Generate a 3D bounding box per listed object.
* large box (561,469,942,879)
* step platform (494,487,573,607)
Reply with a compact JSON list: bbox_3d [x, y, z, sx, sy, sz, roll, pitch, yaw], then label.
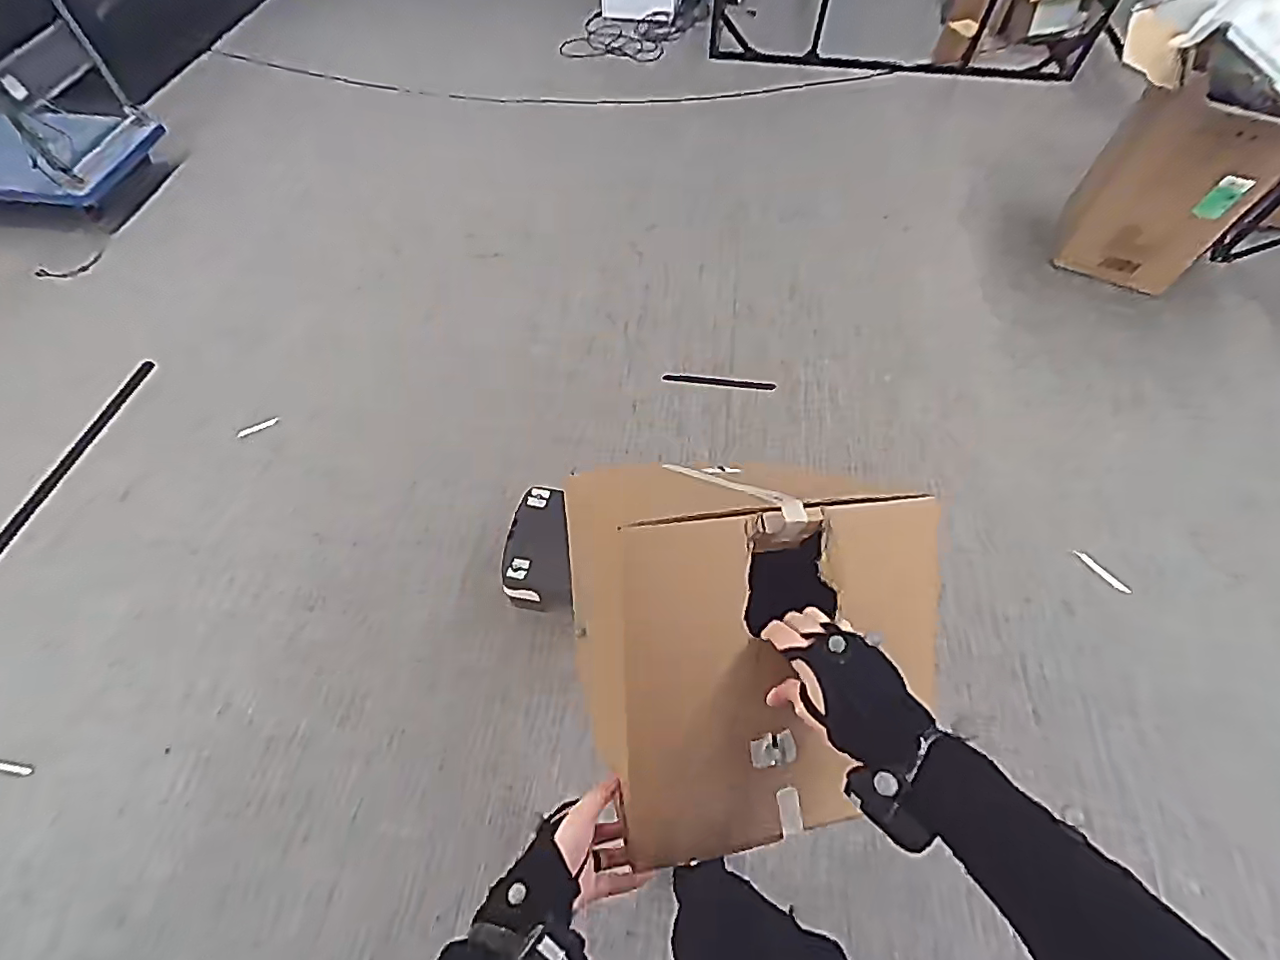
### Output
[{"bbox_3d":[0.092,0.165,0.666,0.320,0.408,0.320,-5,96,-14],"label":"large box"},{"bbox_3d":[-0.025,0.234,1.422,0.684,0.204,0.286,12,59,8],"label":"step platform"}]
